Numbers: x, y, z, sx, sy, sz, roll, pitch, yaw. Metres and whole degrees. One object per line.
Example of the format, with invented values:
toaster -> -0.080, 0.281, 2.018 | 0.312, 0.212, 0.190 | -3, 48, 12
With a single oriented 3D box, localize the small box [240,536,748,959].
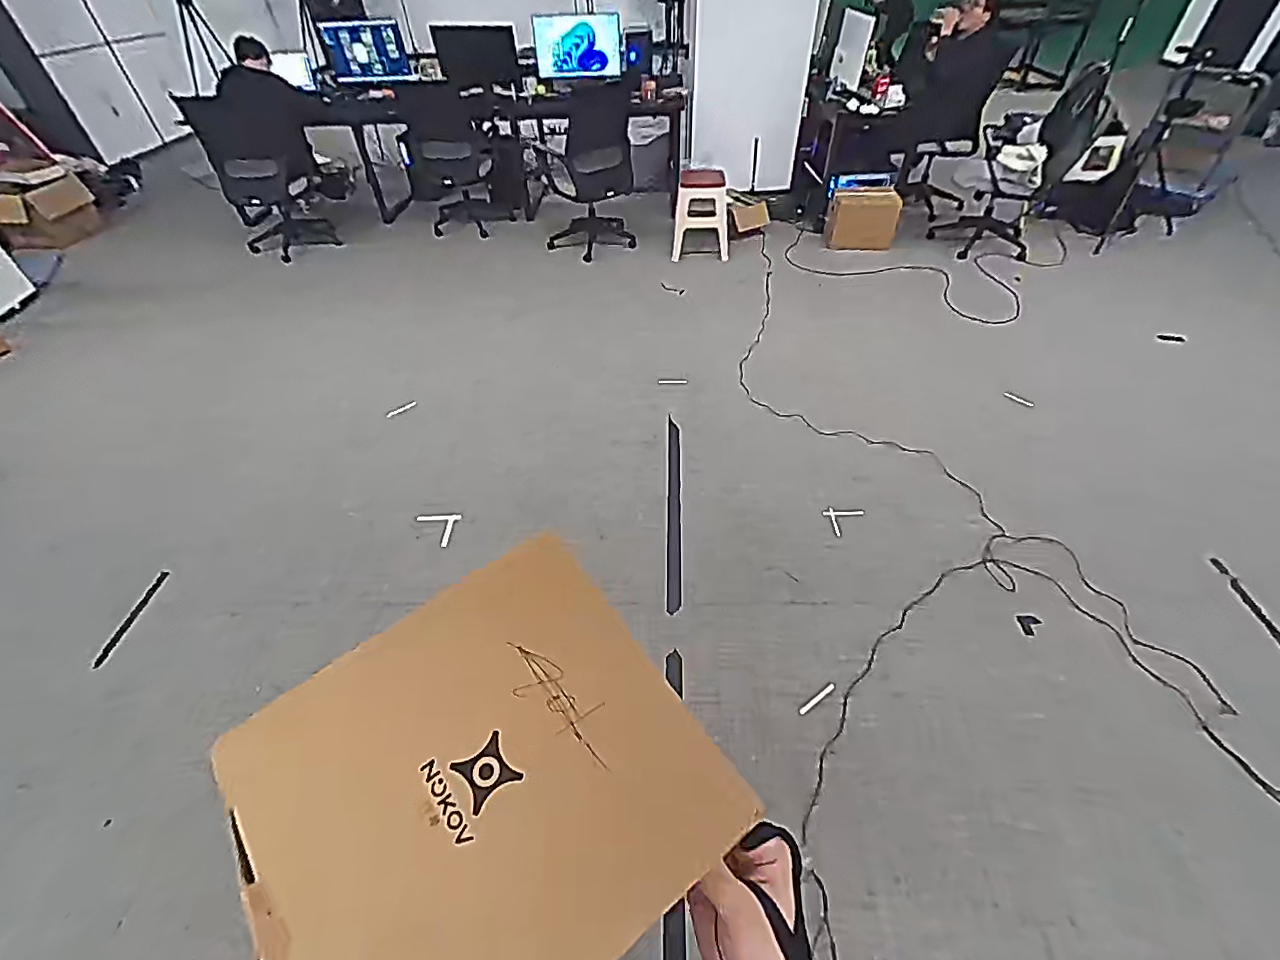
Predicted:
small box -> -0.067, 0.171, 0.308 | 0.179, 0.176, 0.168 | -34, 64, -21
